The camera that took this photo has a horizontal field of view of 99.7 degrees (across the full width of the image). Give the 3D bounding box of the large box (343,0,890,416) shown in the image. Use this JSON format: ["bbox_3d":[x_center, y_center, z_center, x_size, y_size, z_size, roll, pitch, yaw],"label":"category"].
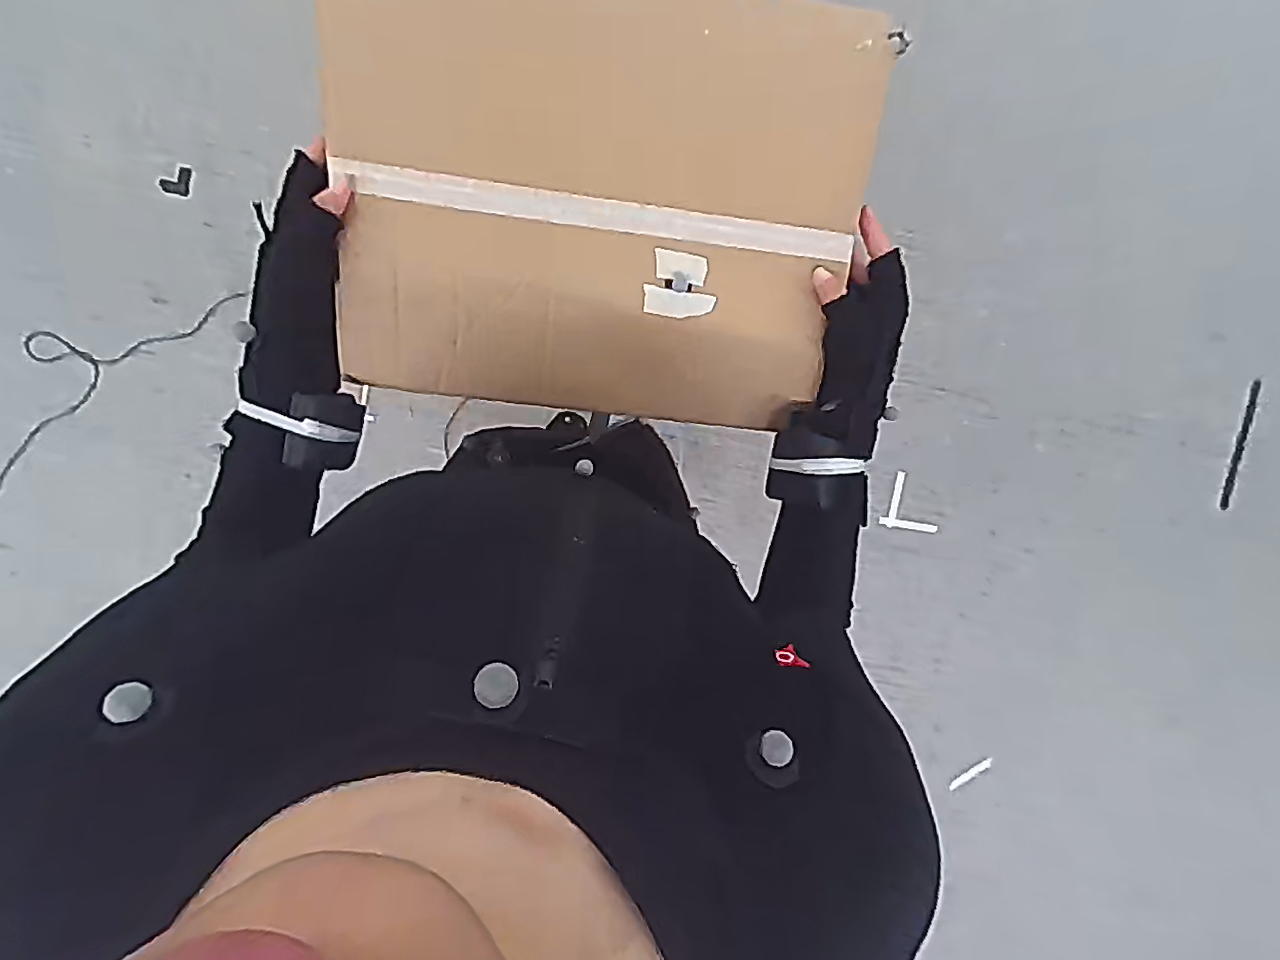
[{"bbox_3d":[-0.036,-0.267,0.572,0.408,0.320,0.320,5,110,-6],"label":"large box"}]
